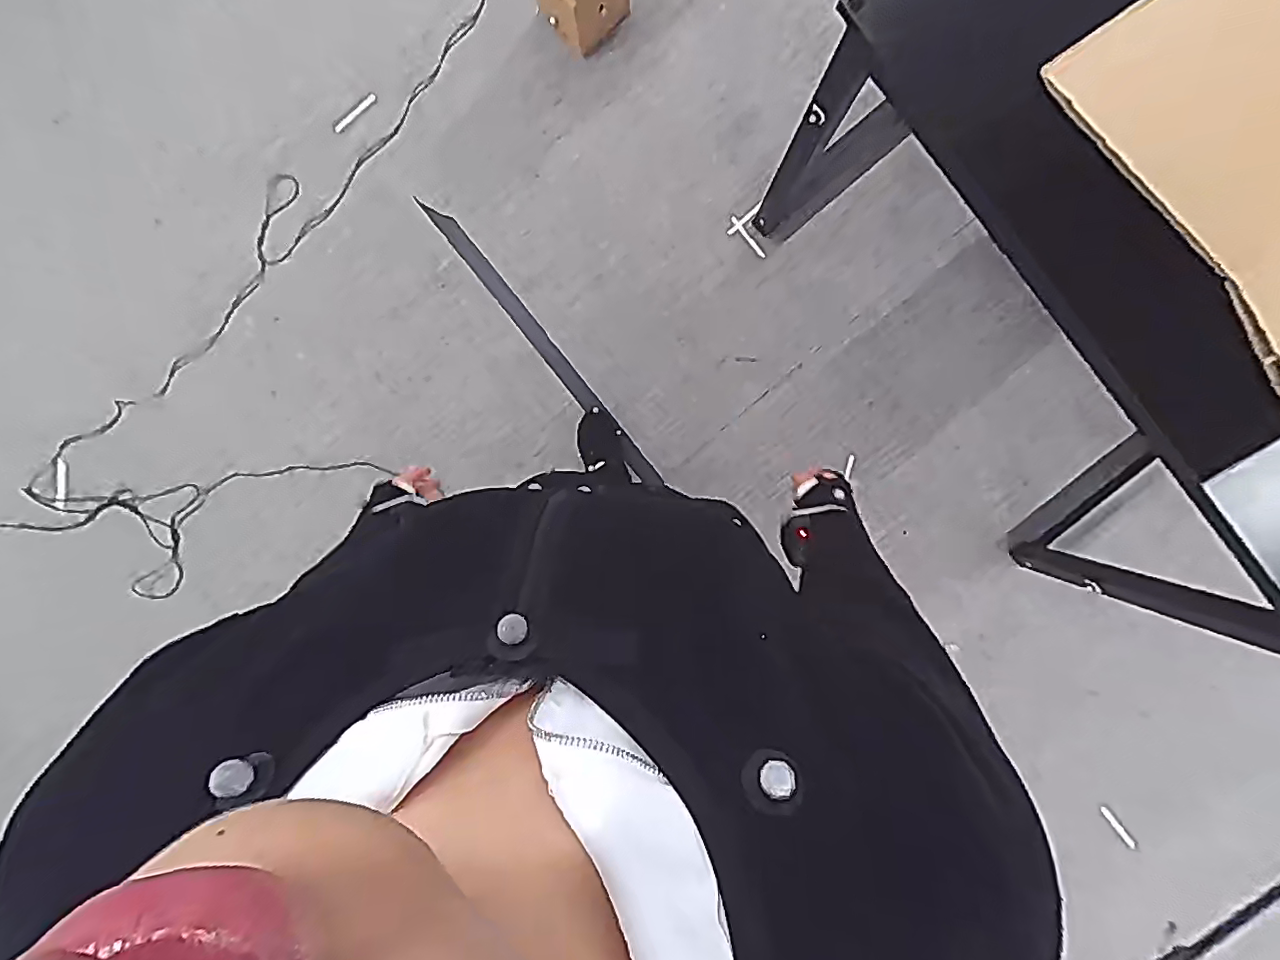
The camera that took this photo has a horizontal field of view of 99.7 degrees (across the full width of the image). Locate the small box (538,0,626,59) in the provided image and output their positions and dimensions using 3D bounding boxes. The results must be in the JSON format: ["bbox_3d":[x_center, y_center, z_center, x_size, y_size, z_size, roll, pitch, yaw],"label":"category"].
[{"bbox_3d":[-0.146,-1.197,1.313,0.179,0.176,0.168,-43,93,4],"label":"small box"}]
